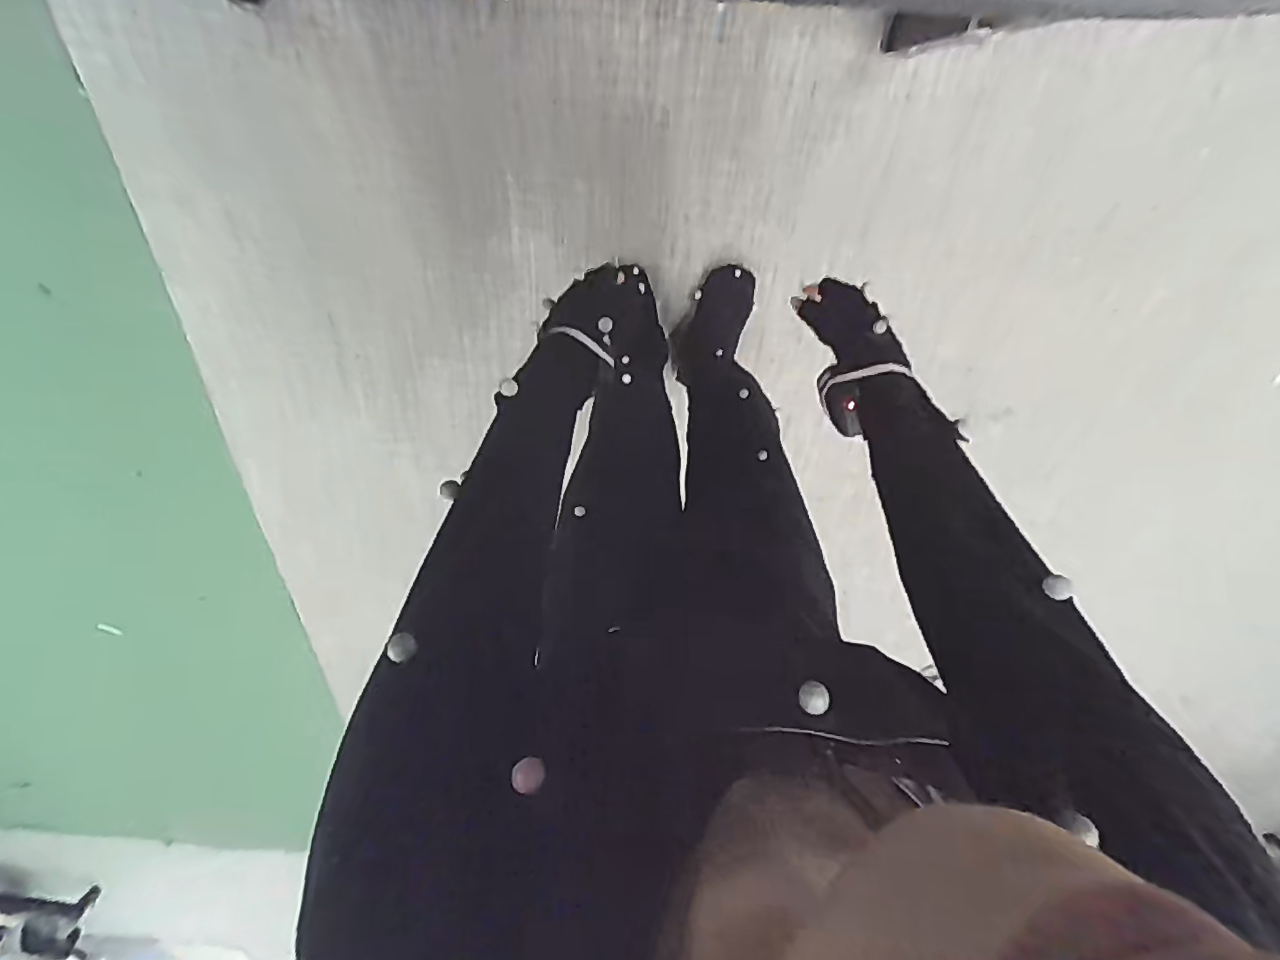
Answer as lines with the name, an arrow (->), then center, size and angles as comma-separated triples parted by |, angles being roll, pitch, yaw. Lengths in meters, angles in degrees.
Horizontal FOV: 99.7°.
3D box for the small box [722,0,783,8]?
small box -> 0.133, -0.755, 0.710 | 0.168, 0.176, 0.179 | 8, 127, -2
